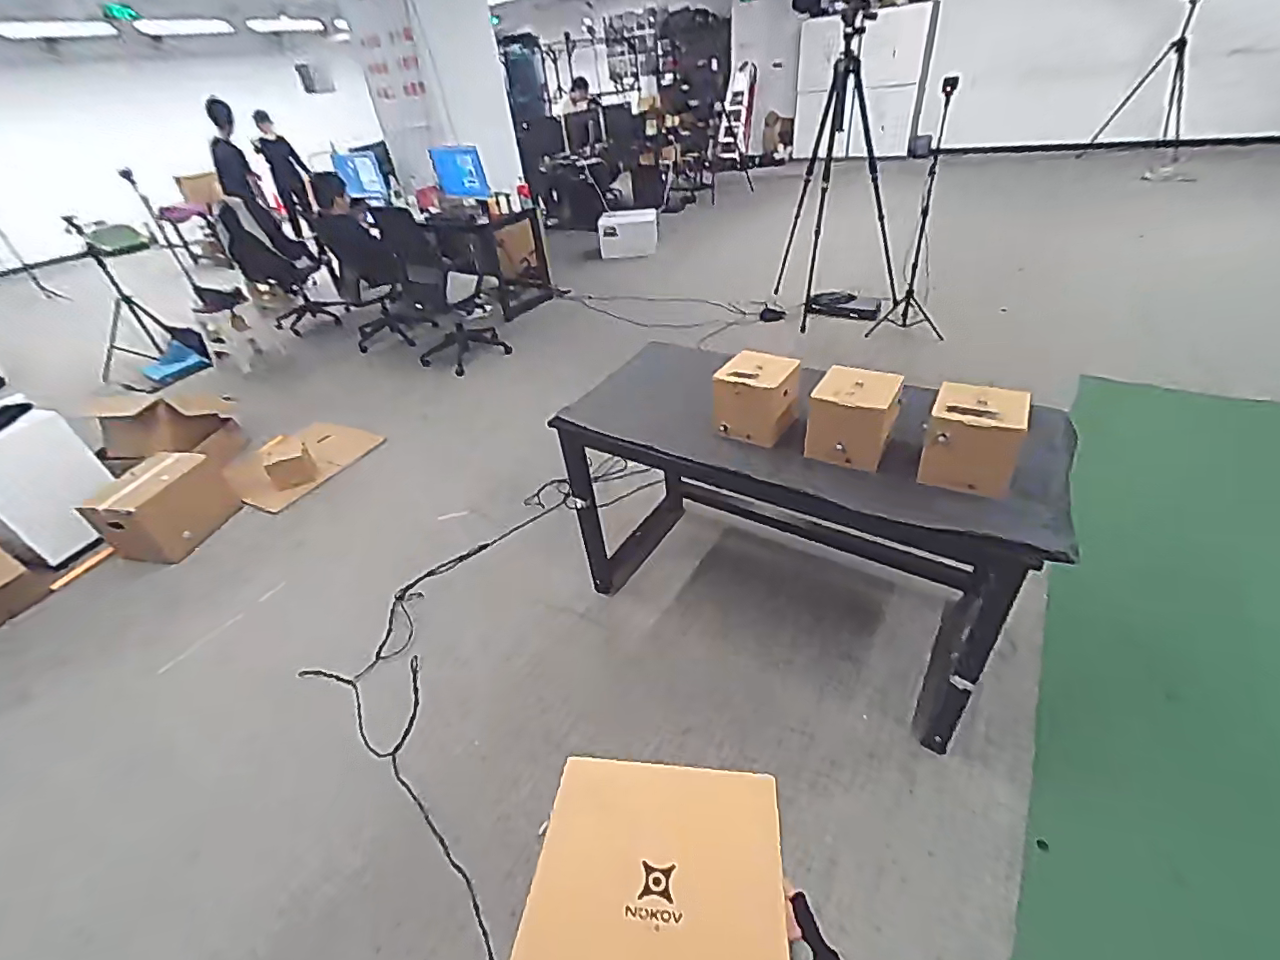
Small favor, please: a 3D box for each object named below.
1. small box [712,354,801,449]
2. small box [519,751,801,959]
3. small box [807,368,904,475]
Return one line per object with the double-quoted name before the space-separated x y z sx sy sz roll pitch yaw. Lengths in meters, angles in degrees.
"small box" 0.300 -0.202 1.391 0.168 0.176 0.179 19 43 30
"small box" 0.019 0.332 0.386 0.168 0.176 0.179 1 29 8
"small box" 0.501 -0.140 1.271 0.168 0.176 0.179 17 43 30
